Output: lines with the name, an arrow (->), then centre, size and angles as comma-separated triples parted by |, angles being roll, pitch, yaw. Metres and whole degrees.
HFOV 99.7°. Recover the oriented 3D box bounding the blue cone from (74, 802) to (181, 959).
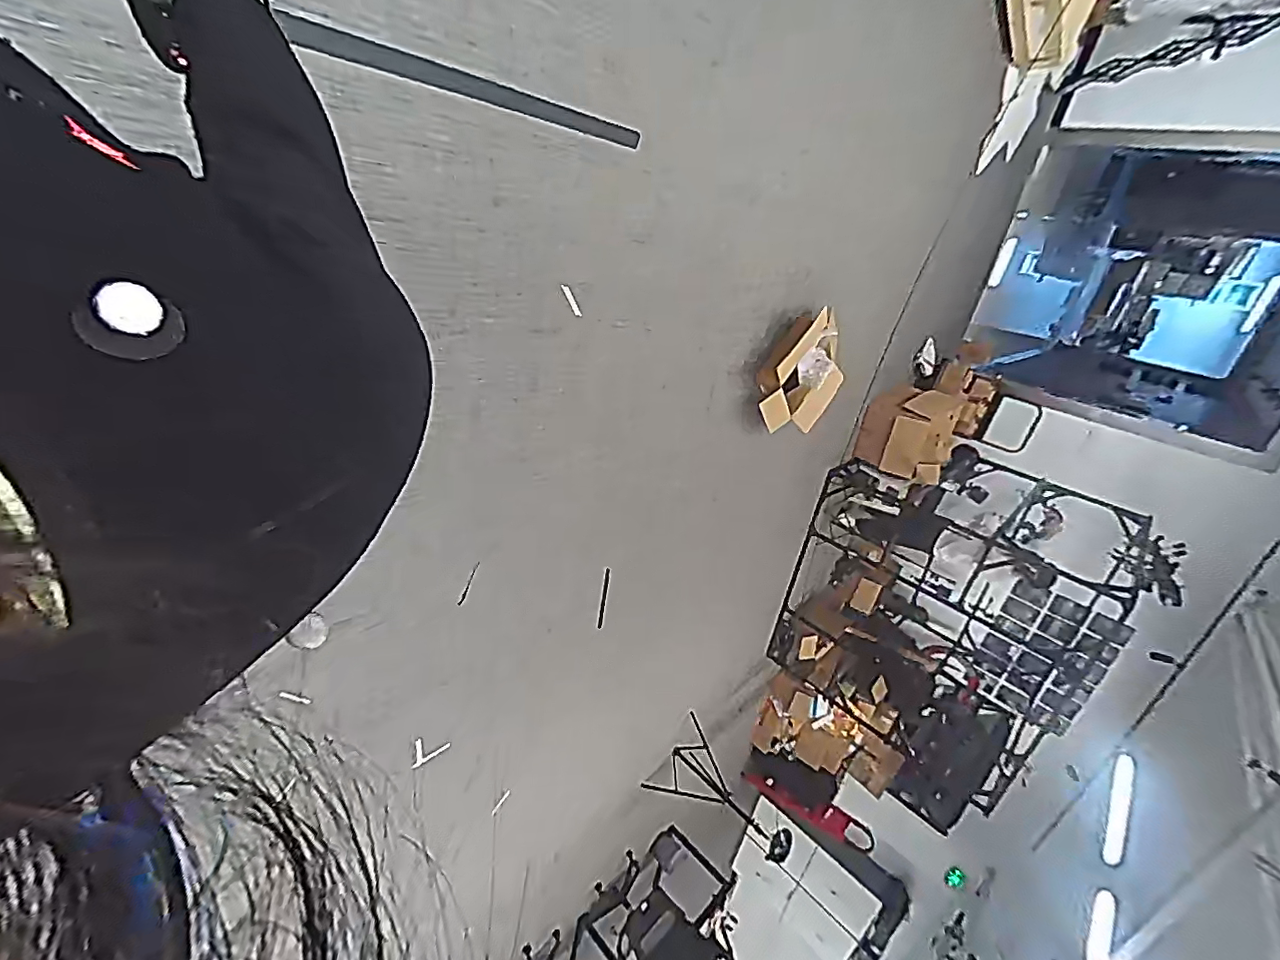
blue cone -> -1.289, 1.061, 1.403 | 0.192, 0.380, 0.193 | -23, 132, -41
